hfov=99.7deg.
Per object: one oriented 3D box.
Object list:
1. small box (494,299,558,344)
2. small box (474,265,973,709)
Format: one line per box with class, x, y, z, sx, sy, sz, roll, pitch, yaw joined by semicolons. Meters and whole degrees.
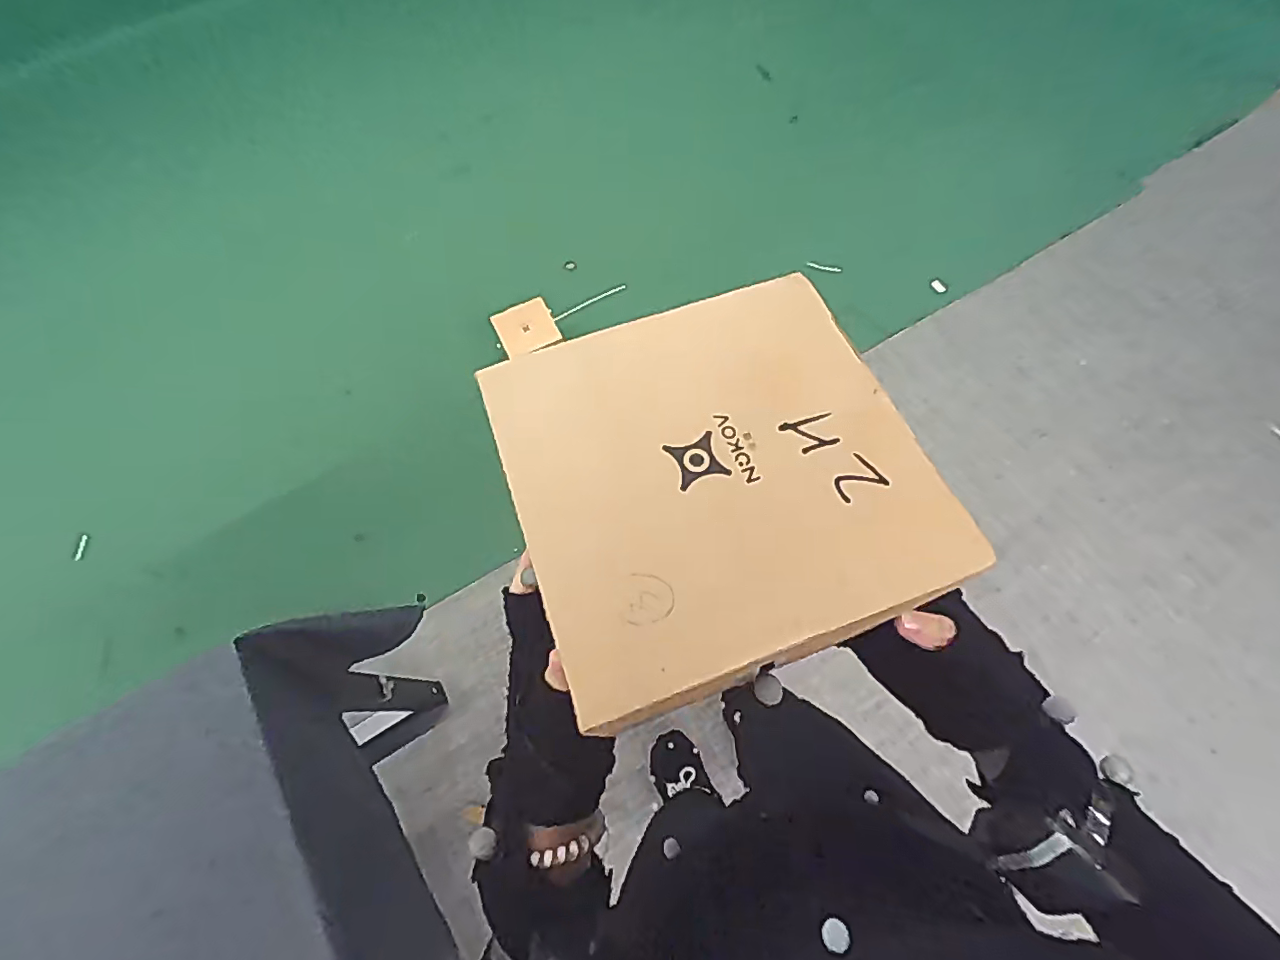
small box;-0.321;-0.411;1.656;0.168;0.176;0.179;-25;68;-8
small box;0.028;0.017;0.308;0.179;0.176;0.168;-18;65;-8
